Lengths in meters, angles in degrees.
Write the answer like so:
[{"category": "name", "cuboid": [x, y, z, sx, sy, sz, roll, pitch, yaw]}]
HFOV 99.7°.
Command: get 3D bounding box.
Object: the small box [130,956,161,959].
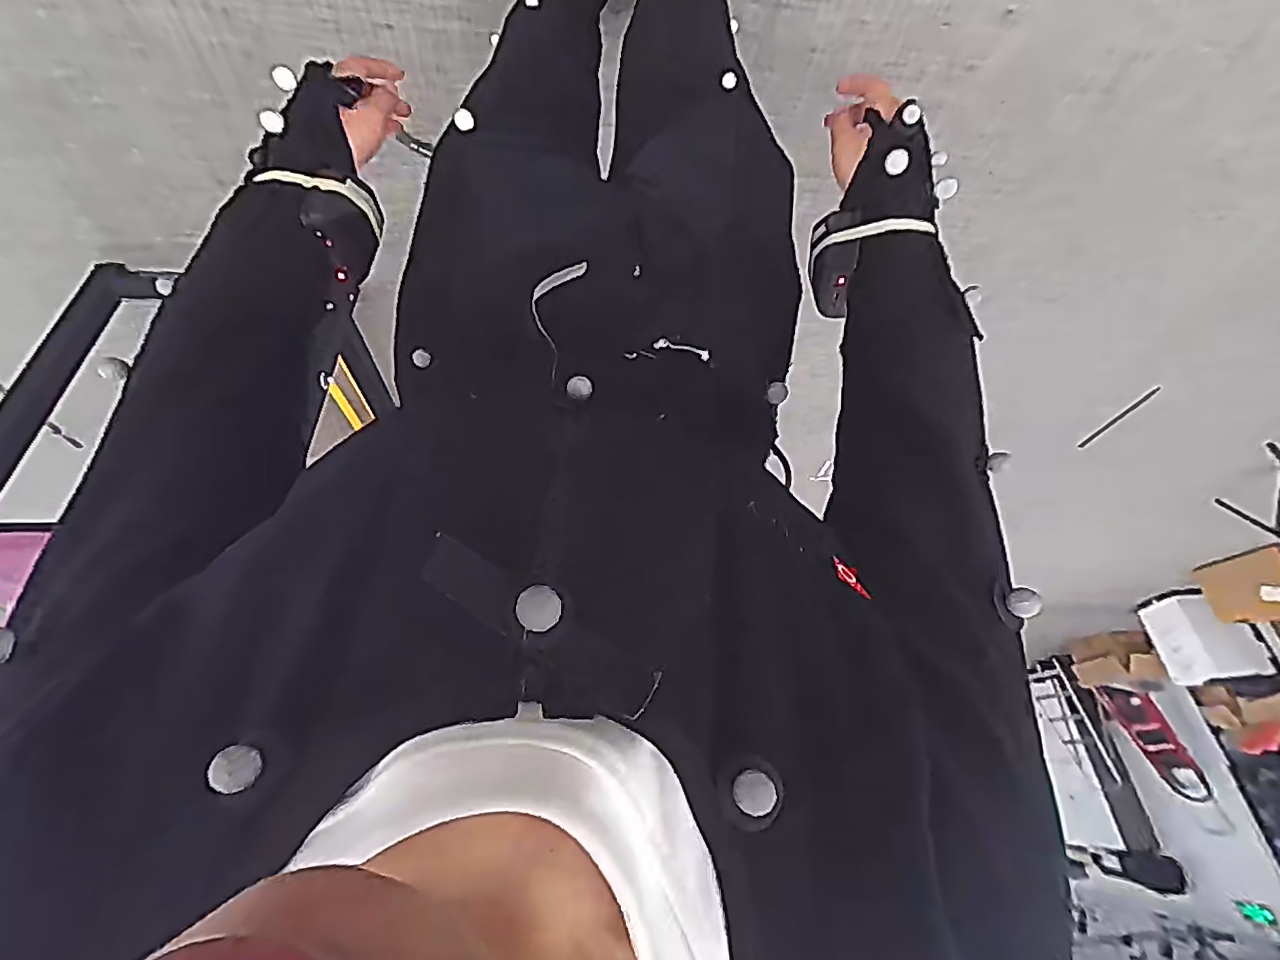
[{"category": "small box", "cuboid": [-0.986, 0.951, 0.923, 0.168, 0.176, 0.179, -1, 151, -2]}]
